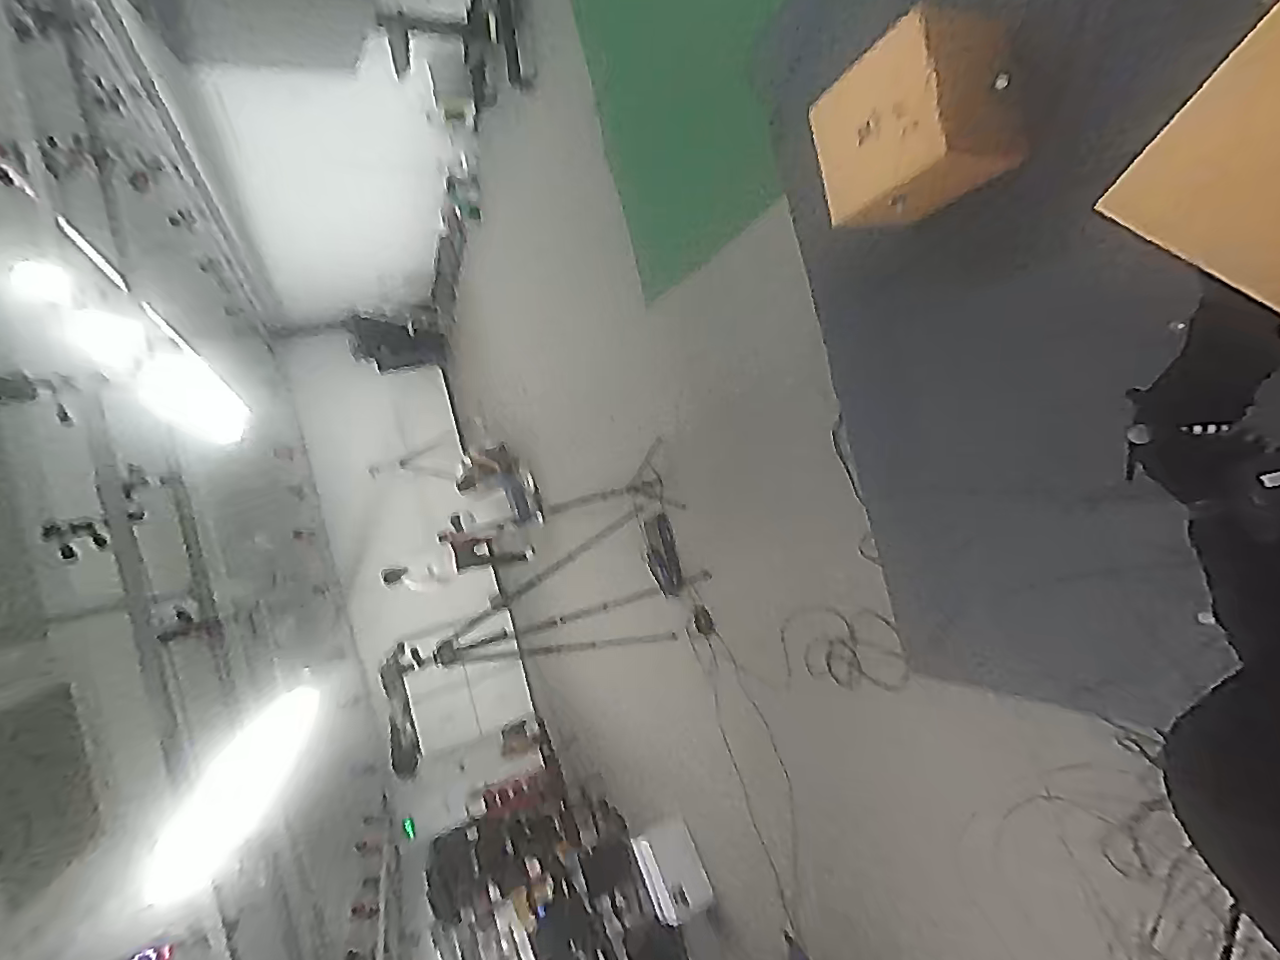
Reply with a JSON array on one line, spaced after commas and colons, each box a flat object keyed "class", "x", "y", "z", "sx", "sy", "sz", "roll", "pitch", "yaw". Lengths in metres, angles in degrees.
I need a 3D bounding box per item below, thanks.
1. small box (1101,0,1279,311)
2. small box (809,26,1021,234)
[{"class": "small box", "x": 0.420, "y": -0.203, "z": 0.294, "sx": 0.179, "sy": 0.176, "sz": 0.168, "roll": 45, "pitch": 149, "yaw": 16}, {"class": "small box", "x": 0.363, "y": -0.449, "z": 0.726, "sx": 0.179, "sy": 0.176, "sz": 0.168, "roll": -8, "pitch": 95, "yaw": 64}]
